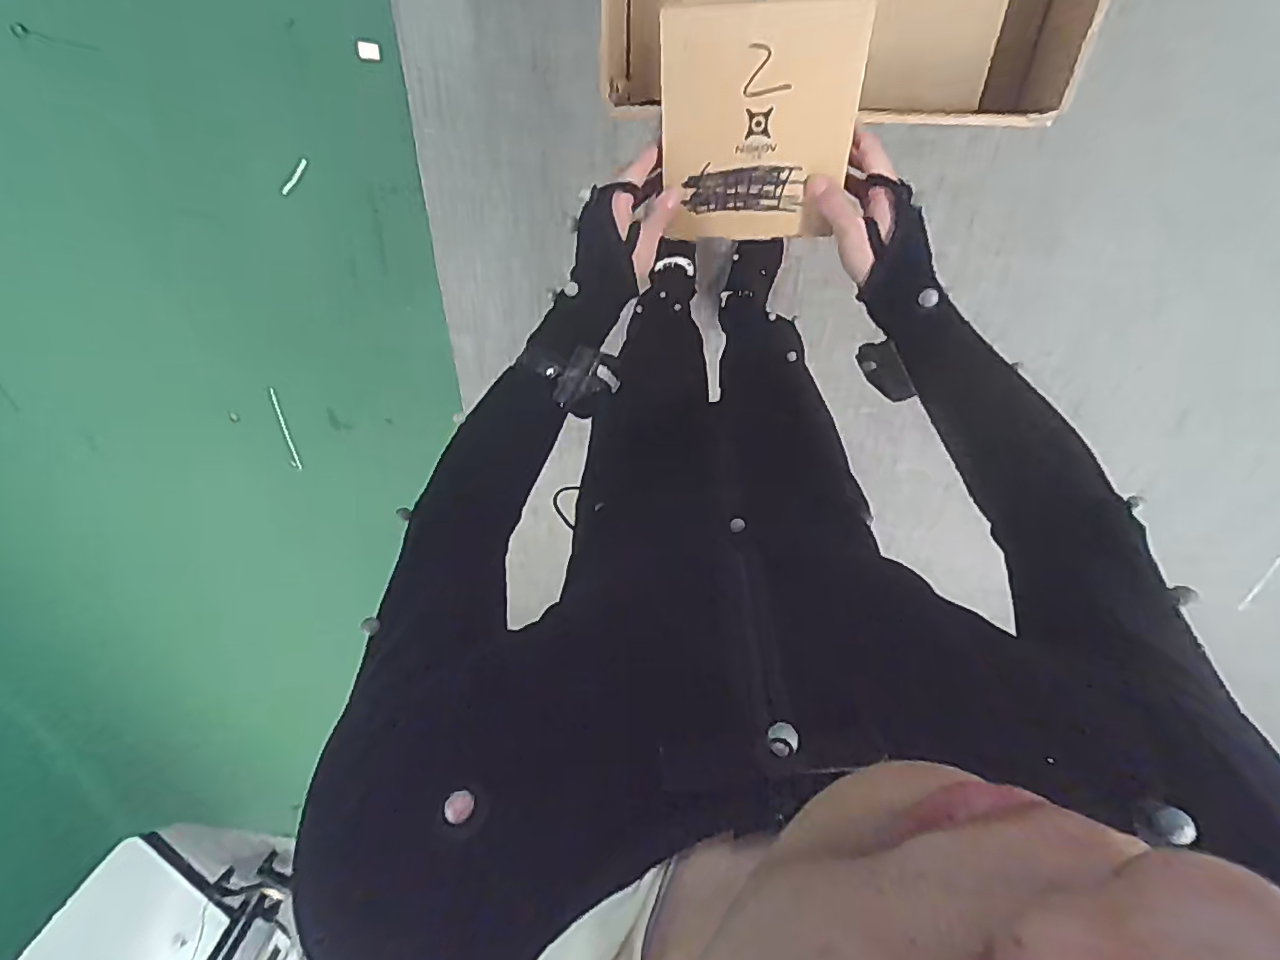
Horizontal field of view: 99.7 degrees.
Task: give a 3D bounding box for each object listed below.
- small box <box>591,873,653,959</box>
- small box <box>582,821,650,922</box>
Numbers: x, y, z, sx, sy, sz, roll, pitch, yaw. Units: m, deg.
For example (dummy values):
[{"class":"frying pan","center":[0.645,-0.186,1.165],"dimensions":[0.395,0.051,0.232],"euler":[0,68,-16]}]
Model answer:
[{"class":"small box","center":[-0.050,1.328,1.662],"dimensions":[0.168,0.176,0.179],"euler":[2,123,6]},{"class":"small box","center":[-0.063,1.085,1.503],"dimensions":[0.168,0.176,0.179],"euler":[5,125,5]}]
